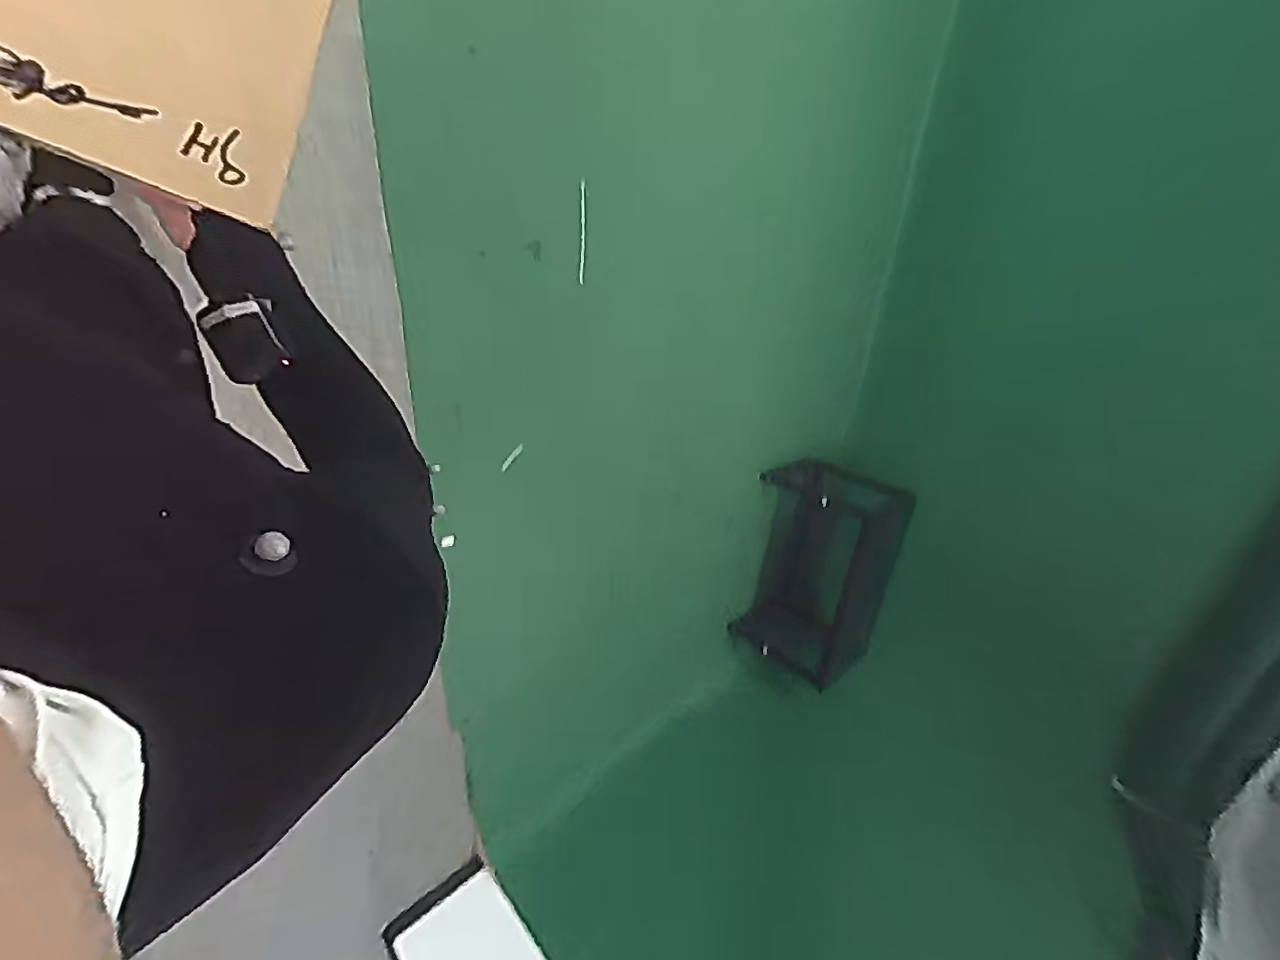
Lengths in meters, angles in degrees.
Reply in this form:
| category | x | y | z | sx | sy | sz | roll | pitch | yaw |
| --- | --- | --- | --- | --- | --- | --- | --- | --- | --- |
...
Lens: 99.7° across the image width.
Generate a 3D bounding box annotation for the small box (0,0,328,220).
| category | x | y | z | sx | sy | sz | roll | pitch | yaw |
| --- | --- | --- | --- | --- | --- | --- | --- | --- | --- |
| small box | -0.261 | -0.250 | 0.245 | 0.168 | 0.176 | 0.179 | 8 | 108 | -50 |
